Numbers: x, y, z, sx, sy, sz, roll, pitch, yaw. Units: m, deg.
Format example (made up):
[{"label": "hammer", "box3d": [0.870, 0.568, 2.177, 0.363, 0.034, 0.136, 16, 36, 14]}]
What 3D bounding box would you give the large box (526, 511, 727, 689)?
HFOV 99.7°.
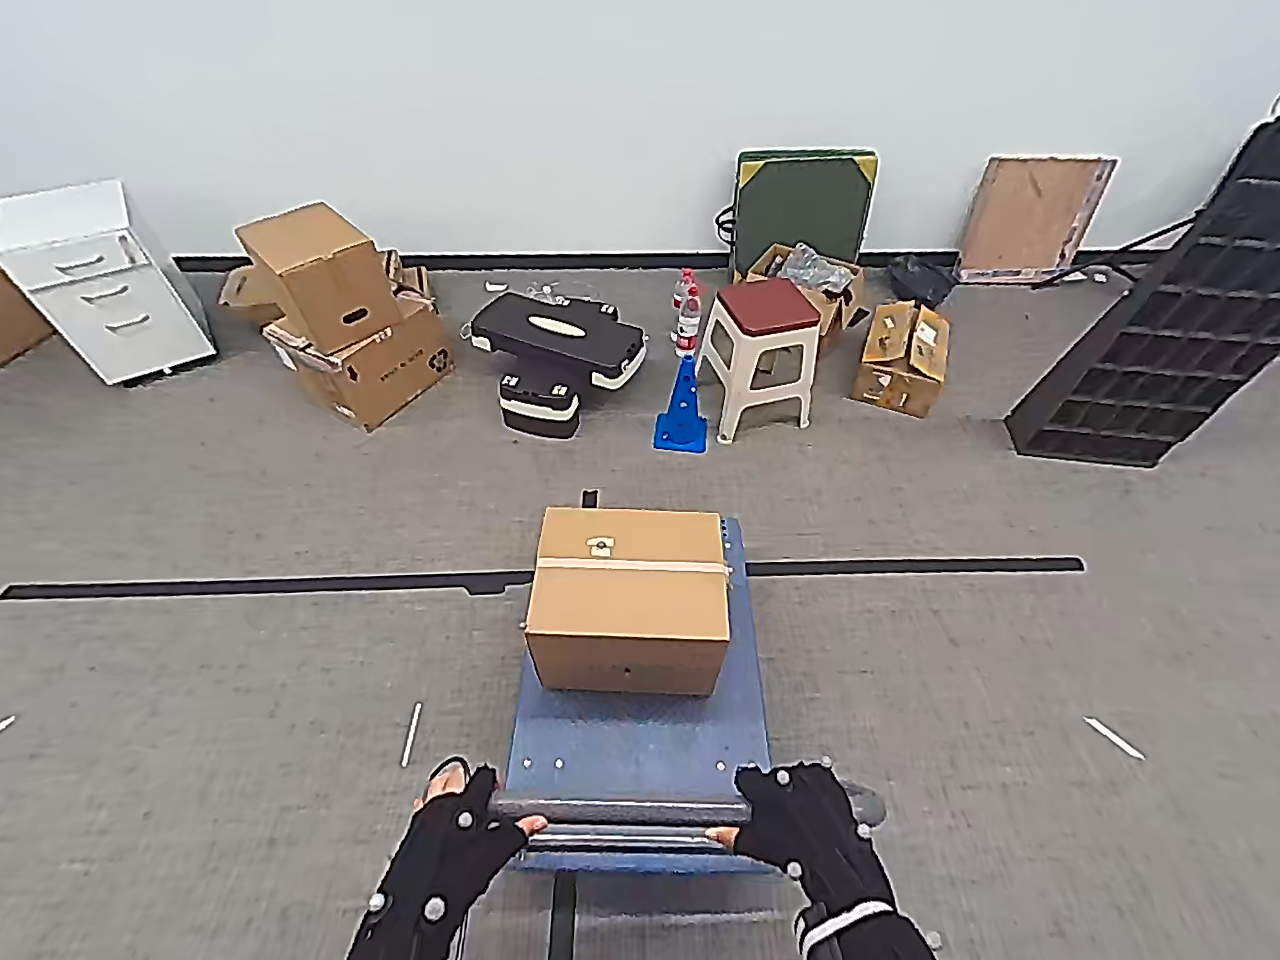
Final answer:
[{"label": "large box", "box3d": [-0.023, 0.287, 1.271, 0.408, 0.320, 0.320, 2, 49, 1]}]
